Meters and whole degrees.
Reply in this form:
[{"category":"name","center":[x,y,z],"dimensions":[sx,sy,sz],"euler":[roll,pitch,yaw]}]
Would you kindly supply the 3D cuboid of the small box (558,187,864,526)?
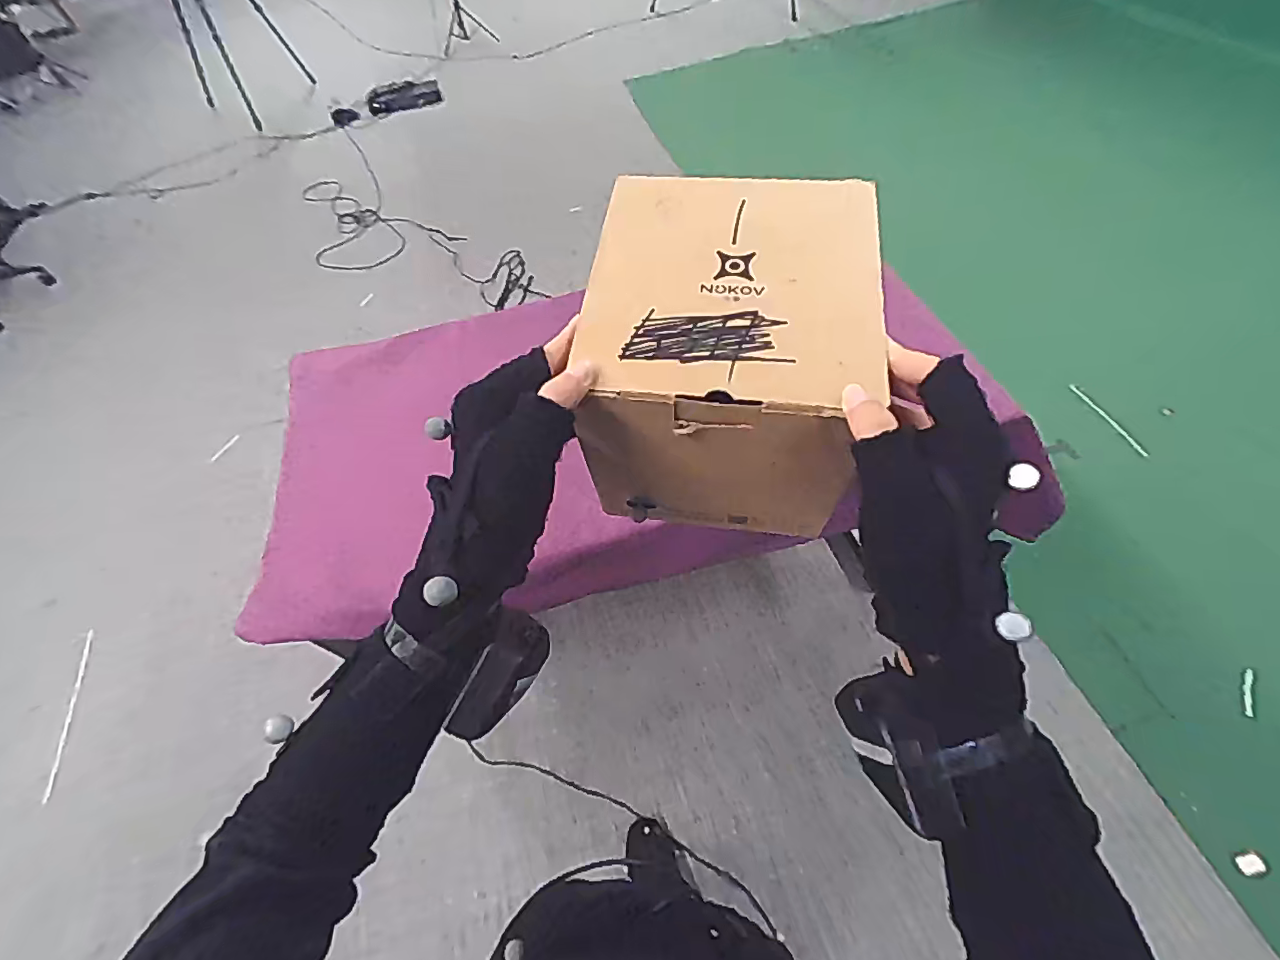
[{"category":"small box","center":[0.054,-0.080,0.391],"dimensions":[0.168,0.176,0.179],"euler":[6,63,8]}]
